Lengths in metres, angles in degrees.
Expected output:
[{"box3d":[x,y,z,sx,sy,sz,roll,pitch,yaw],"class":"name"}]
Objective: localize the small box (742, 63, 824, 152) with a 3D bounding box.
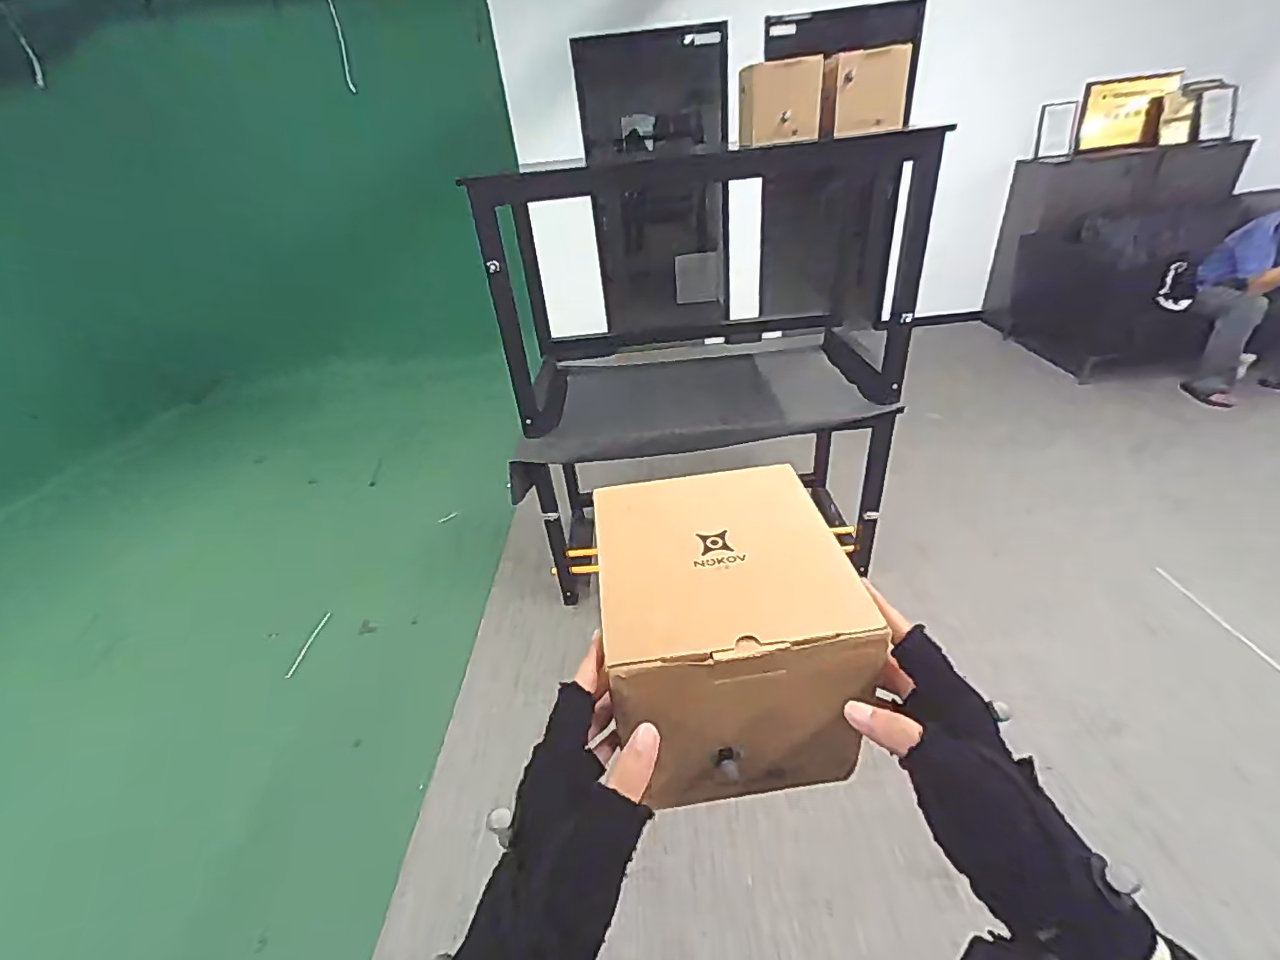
[{"box3d":[0.355,-0.939,1.376,0.168,0.176,0.179,-6,32,1],"class":"small box"}]
